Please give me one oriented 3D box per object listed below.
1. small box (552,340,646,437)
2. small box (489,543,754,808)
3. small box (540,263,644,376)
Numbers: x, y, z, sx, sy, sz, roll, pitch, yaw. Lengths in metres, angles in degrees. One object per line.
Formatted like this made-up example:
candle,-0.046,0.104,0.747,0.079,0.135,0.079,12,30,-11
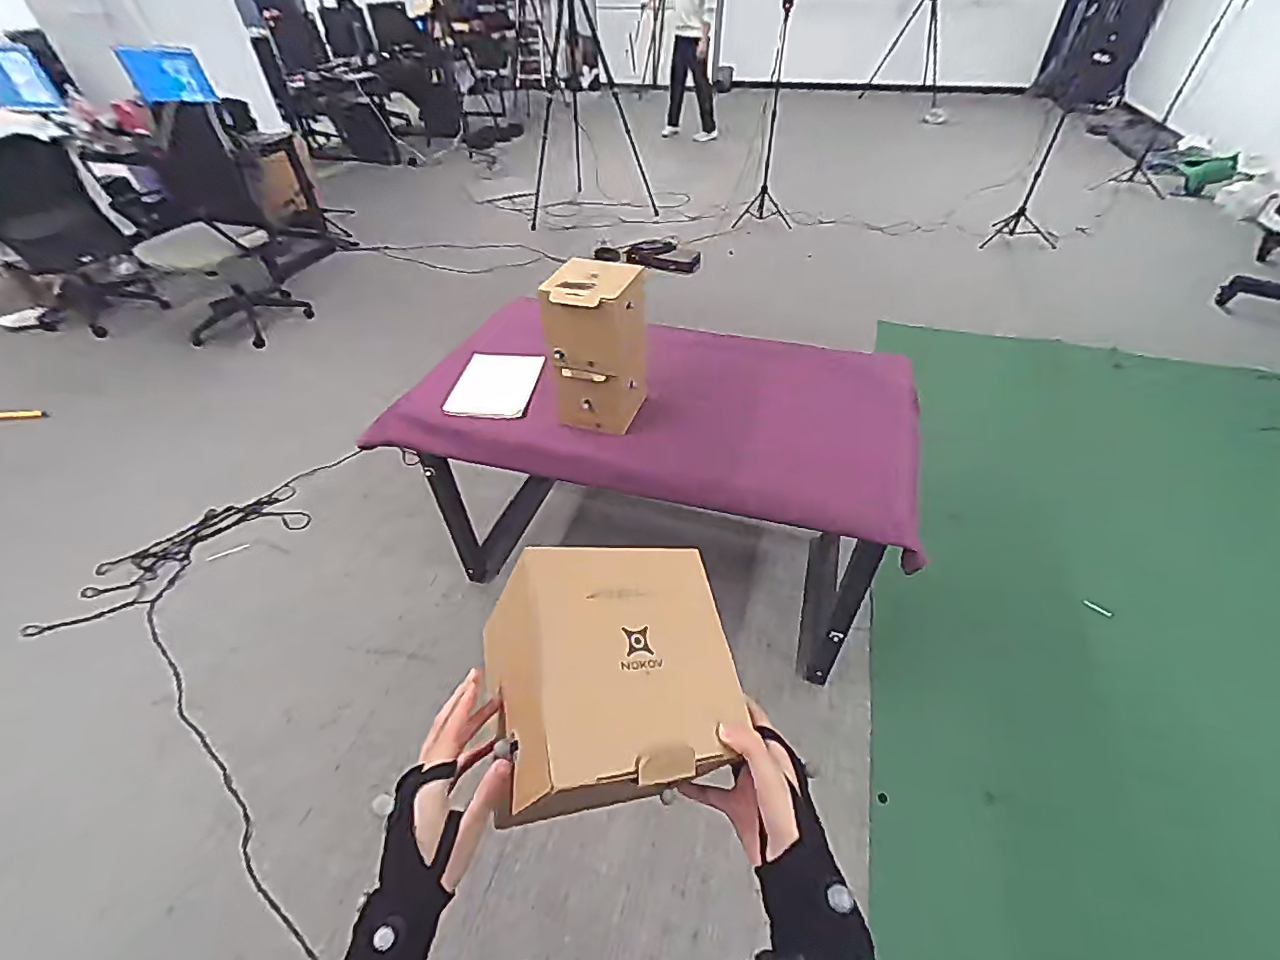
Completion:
small box,-0.087,-0.225,1.269,0.168,0.176,0.179,13,46,14
small box,-0.033,0.174,0.478,0.168,0.176,0.179,6,51,-26
small box,-0.092,-0.341,1.150,0.168,0.176,0.179,13,44,15
